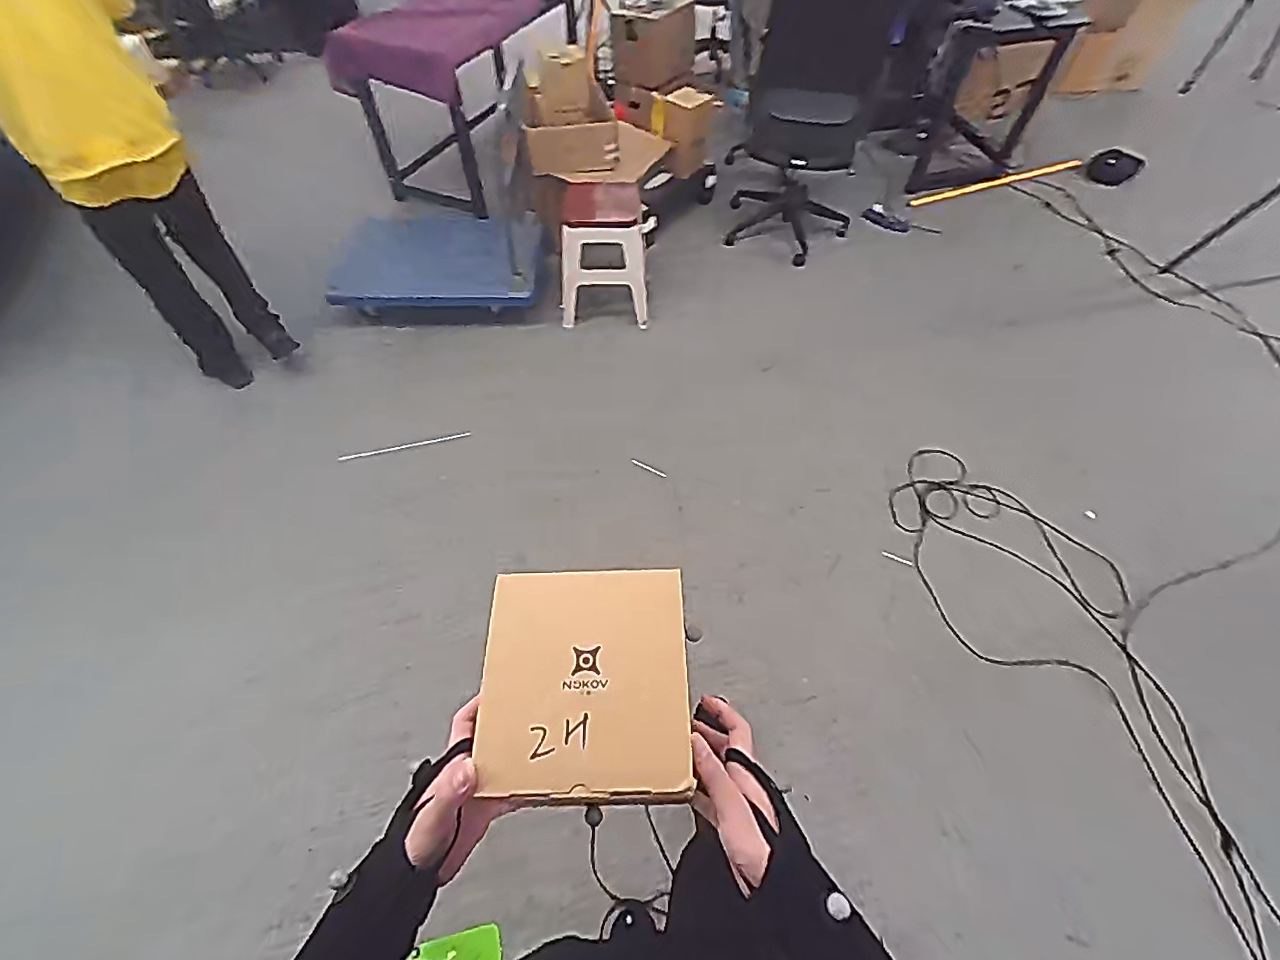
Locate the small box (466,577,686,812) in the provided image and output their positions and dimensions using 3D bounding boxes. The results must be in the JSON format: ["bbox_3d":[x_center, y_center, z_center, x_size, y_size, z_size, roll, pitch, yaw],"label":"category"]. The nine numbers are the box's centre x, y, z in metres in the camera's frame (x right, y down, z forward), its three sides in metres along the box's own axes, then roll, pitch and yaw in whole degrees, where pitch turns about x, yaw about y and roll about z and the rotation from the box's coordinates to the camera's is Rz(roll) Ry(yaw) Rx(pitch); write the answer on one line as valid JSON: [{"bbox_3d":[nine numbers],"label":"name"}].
[{"bbox_3d":[-0.046,0.206,0.509,0.168,0.176,0.179,-1,57,1],"label":"small box"}]

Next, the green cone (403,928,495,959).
[{"bbox_3d":[-0.405,1.013,1.019,0.202,0.368,0.200,-10,57,-9],"label":"green cone"}]
